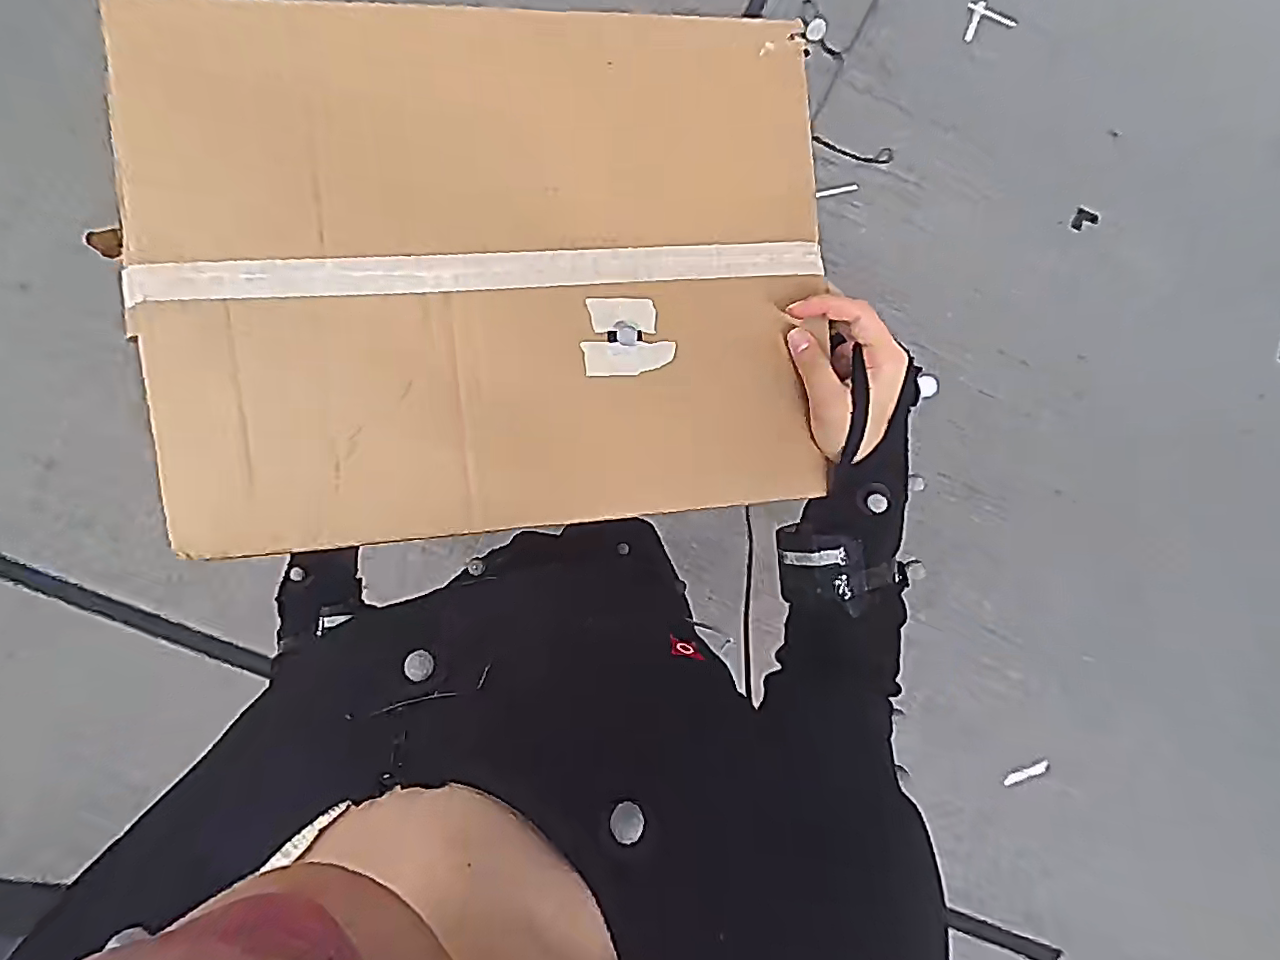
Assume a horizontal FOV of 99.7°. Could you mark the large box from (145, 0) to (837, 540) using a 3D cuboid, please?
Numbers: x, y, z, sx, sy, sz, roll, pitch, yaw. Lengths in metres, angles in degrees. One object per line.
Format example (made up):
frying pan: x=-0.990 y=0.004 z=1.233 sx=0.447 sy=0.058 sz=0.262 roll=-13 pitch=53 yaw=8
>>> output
large box: x=-0.095 y=-0.139 z=0.484 sx=0.408 sy=0.320 sz=0.320 roll=-5 pitch=93 yaw=-10
